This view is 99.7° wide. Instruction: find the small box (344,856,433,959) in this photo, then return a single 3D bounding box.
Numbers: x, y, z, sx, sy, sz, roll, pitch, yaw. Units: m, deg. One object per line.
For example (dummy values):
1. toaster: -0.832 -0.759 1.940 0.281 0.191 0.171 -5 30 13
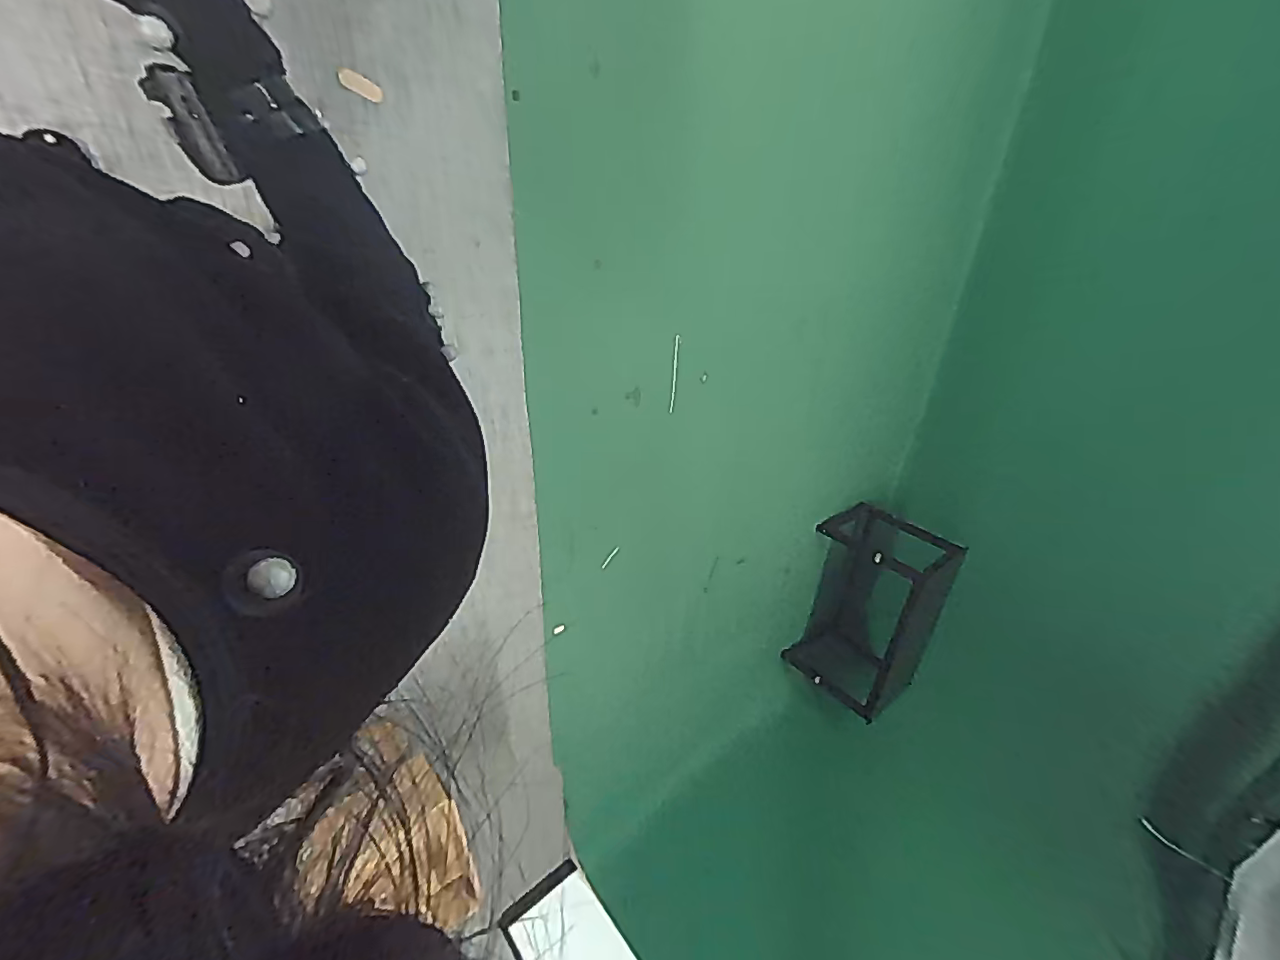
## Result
1. small box: -0.733 1.247 1.572 0.168 0.176 0.179 -26 127 -31
